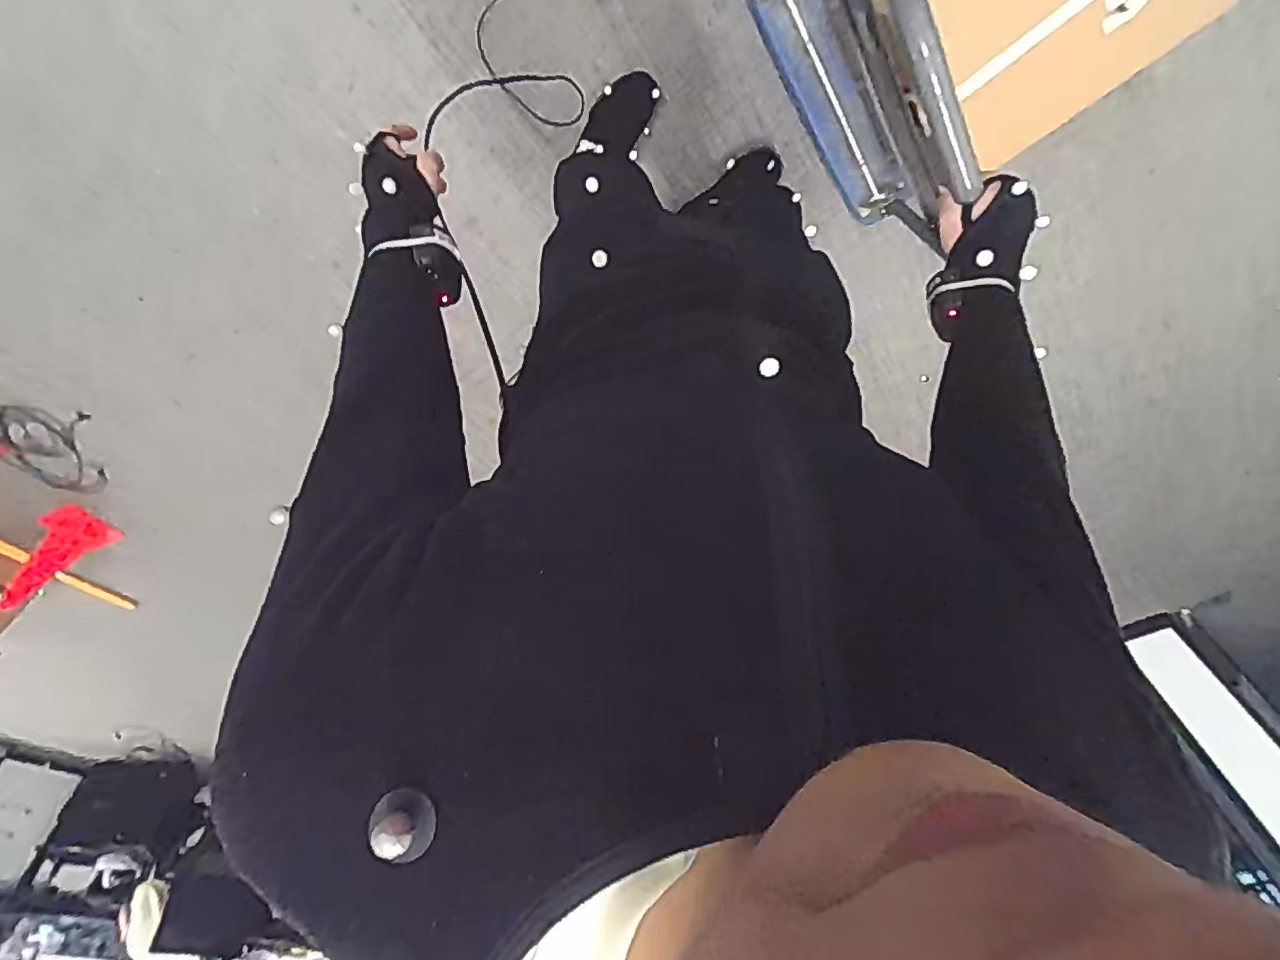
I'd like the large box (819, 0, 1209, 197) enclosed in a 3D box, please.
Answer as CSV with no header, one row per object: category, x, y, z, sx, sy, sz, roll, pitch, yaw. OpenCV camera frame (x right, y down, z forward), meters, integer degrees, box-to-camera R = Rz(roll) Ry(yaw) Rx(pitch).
large box,0.586,-0.775,0.908,0.408,0.320,0.320,-33,126,22
